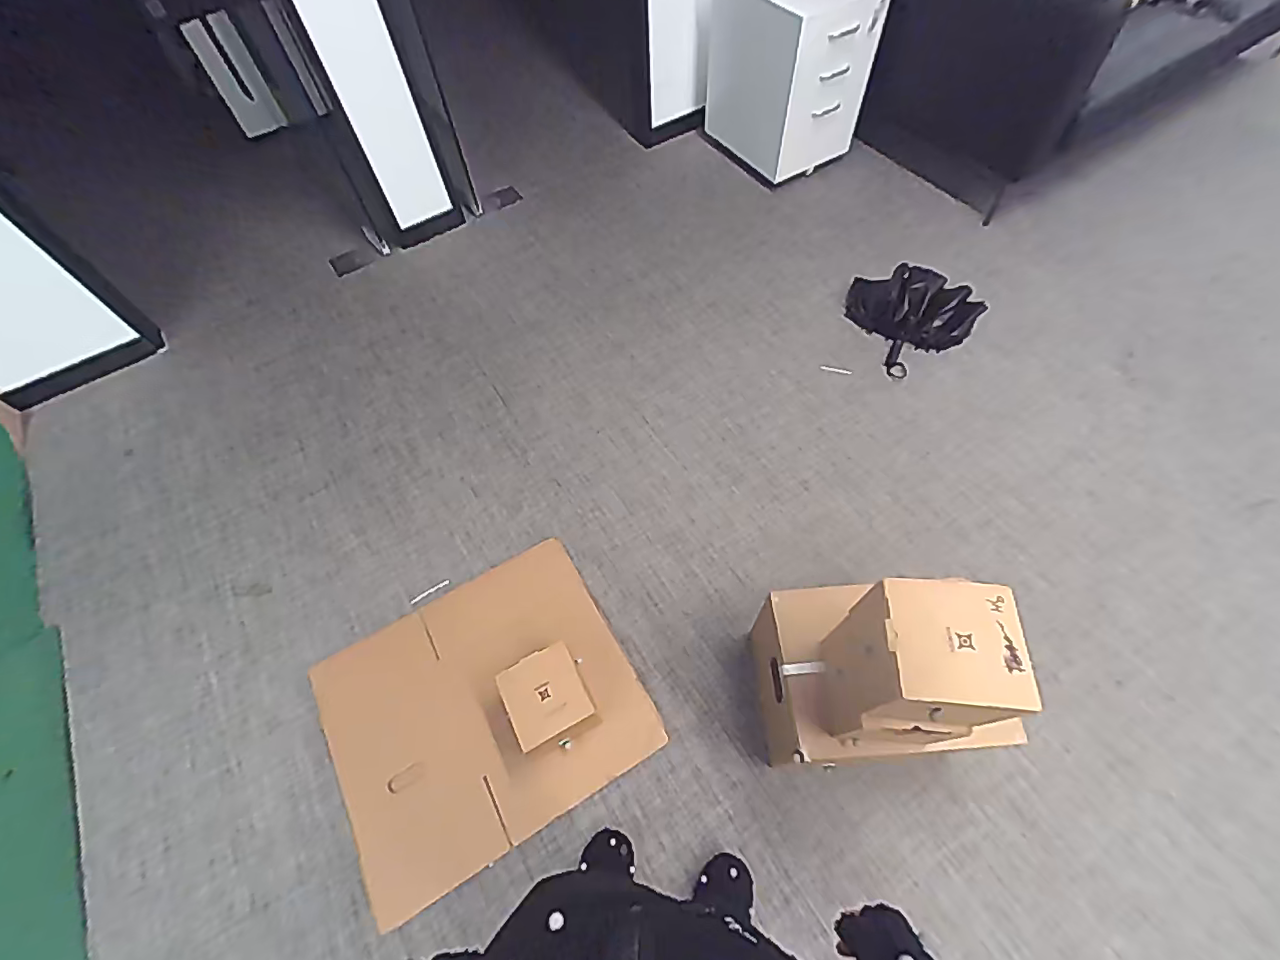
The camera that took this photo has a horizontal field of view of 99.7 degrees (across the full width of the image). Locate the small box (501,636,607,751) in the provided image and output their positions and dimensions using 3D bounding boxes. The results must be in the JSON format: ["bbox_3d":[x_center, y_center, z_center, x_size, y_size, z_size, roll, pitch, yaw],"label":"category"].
[{"bbox_3d":[-0.189,0.486,1.221,0.168,0.176,0.179,-27,62,-11],"label":"small box"}]

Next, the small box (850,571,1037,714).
[{"bbox_3d":[0.424,0.243,0.797,0.179,0.176,0.168,1,58,3],"label":"small box"}]

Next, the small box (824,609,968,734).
[{"bbox_3d":[0.425,0.334,0.930,0.168,0.176,0.179,1,60,4],"label":"small box"}]
